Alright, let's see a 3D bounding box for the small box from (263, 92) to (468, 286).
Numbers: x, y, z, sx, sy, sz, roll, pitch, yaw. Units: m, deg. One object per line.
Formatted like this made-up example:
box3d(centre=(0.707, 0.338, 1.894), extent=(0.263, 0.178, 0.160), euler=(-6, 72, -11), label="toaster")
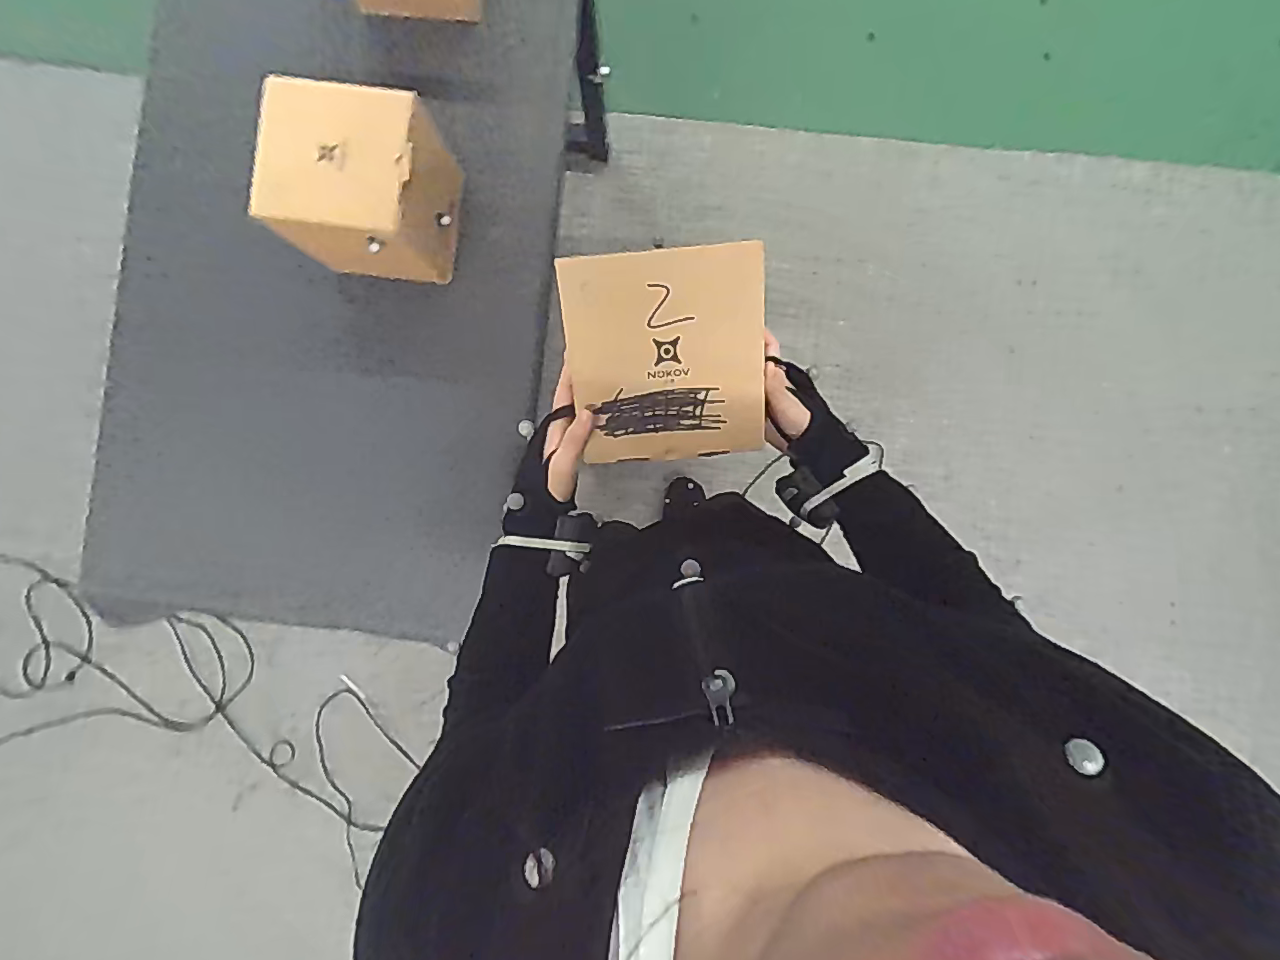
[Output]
box3d(centre=(-0.351, -0.374, 0.722), extent=(0.179, 0.176, 0.168), euler=(6, 90, 2), label="small box")
